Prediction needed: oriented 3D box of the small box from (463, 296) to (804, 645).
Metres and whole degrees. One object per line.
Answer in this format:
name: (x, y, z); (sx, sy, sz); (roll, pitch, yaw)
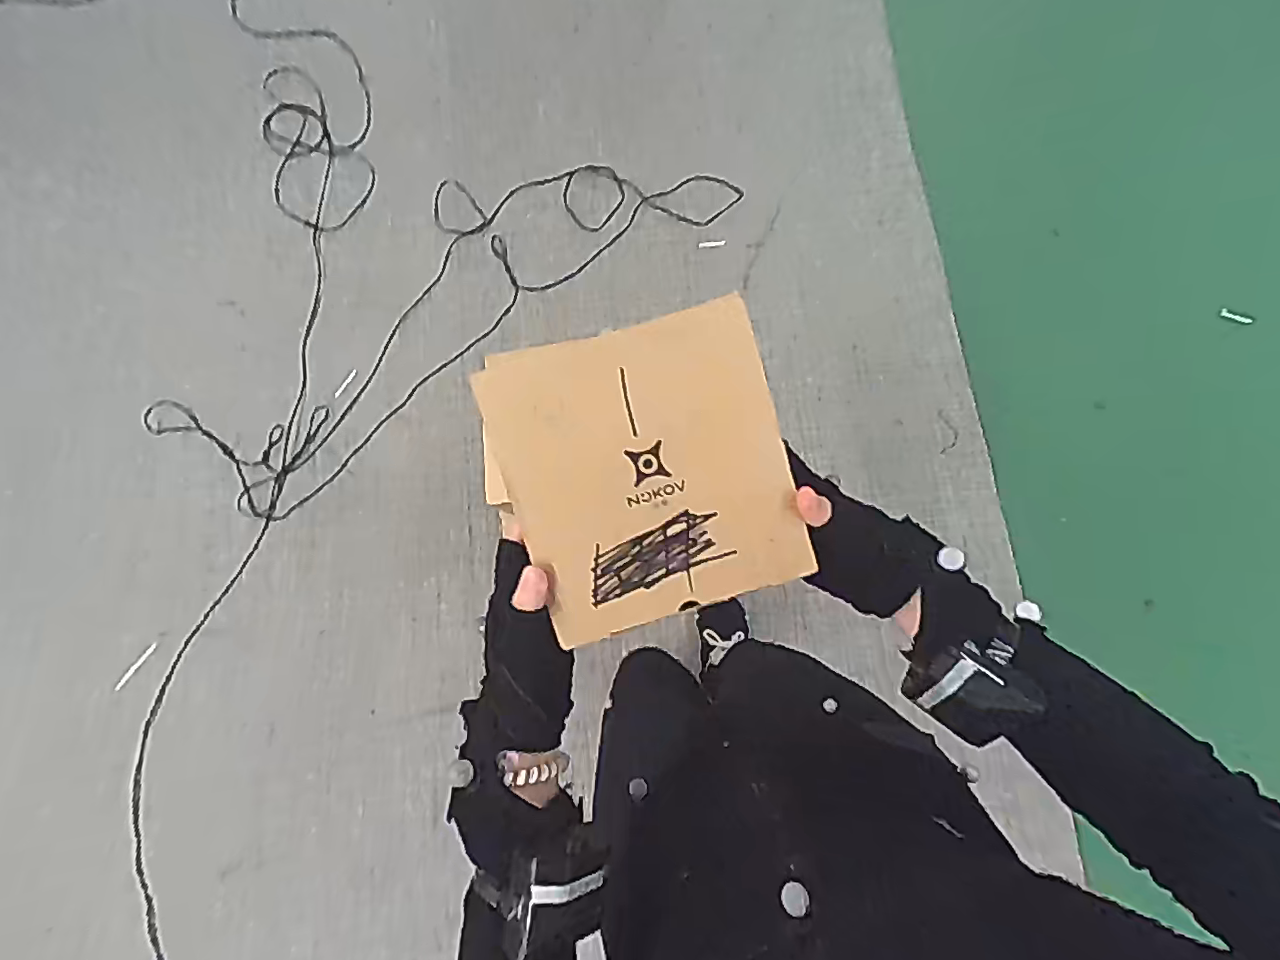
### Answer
small box: (-0.004, -0.013, 0.400); (0.168, 0.176, 0.179); (-18, 98, -2)

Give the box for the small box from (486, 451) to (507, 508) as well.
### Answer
small box: (-0.222, -0.031, 1.156); (0.168, 0.176, 0.179); (-6, 79, 3)
